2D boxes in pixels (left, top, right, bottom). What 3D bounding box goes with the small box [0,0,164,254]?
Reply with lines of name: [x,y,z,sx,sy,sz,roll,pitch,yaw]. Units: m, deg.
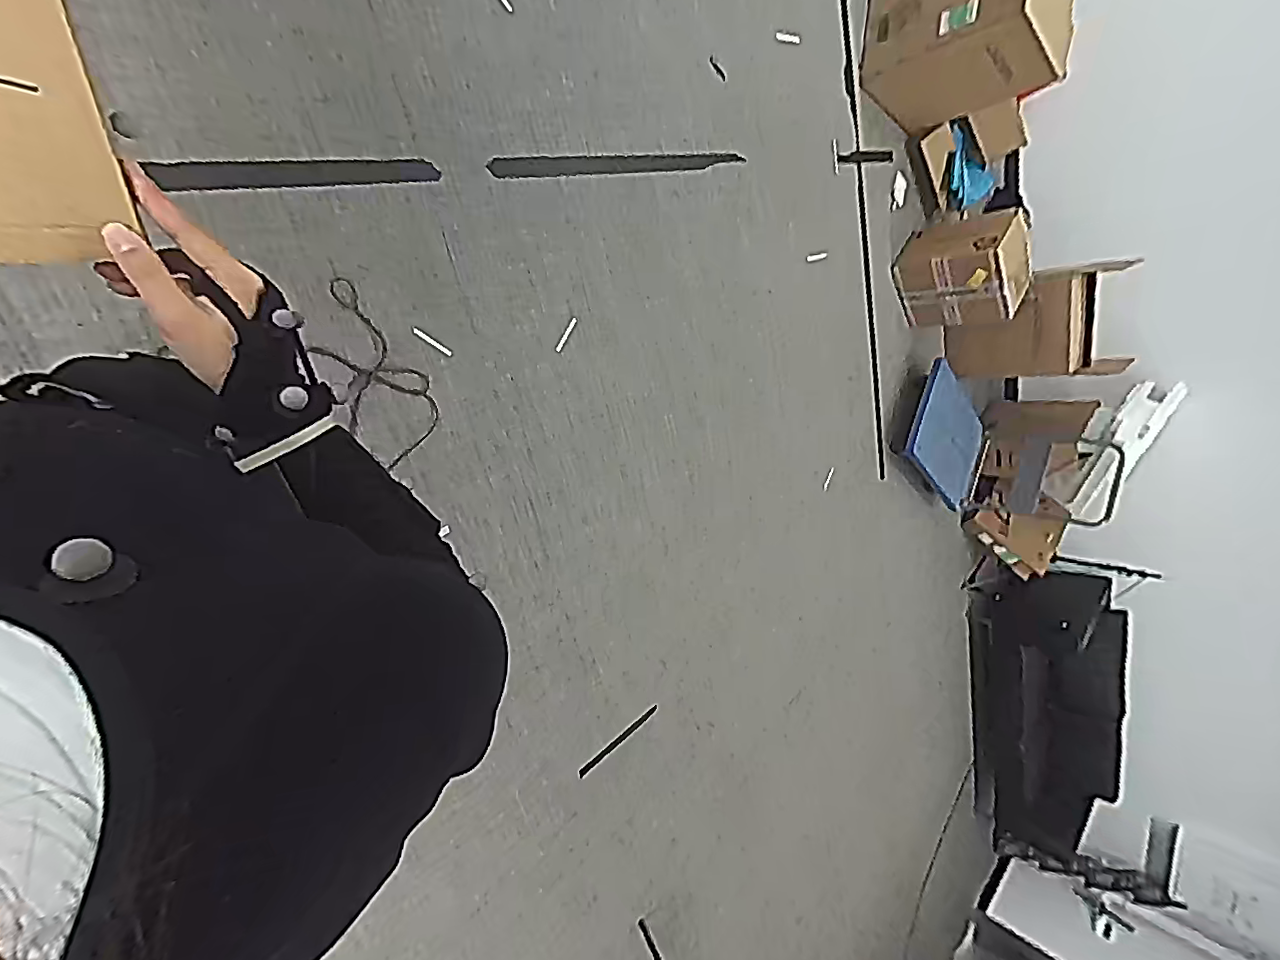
small box: [-0.385,-0.212,0.280,0.179,0.176,0.168,-18,124,-37]
